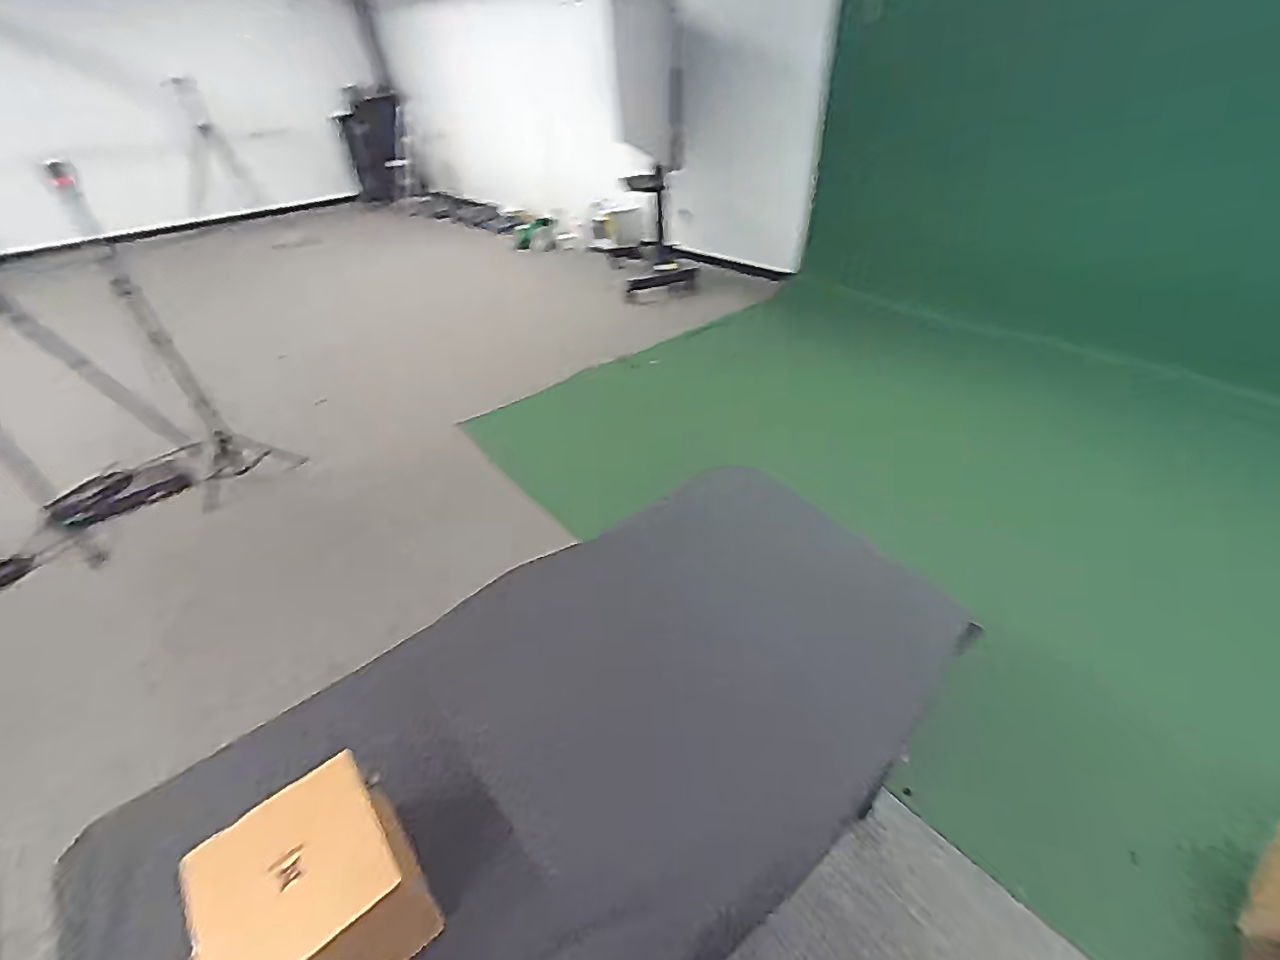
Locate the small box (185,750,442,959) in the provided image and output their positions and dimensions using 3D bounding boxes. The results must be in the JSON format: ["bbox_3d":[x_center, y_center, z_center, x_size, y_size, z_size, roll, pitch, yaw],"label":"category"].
[{"bbox_3d":[-0.342,0.447,0.587,0.168,0.176,0.179,-30,45,-30],"label":"small box"}]
